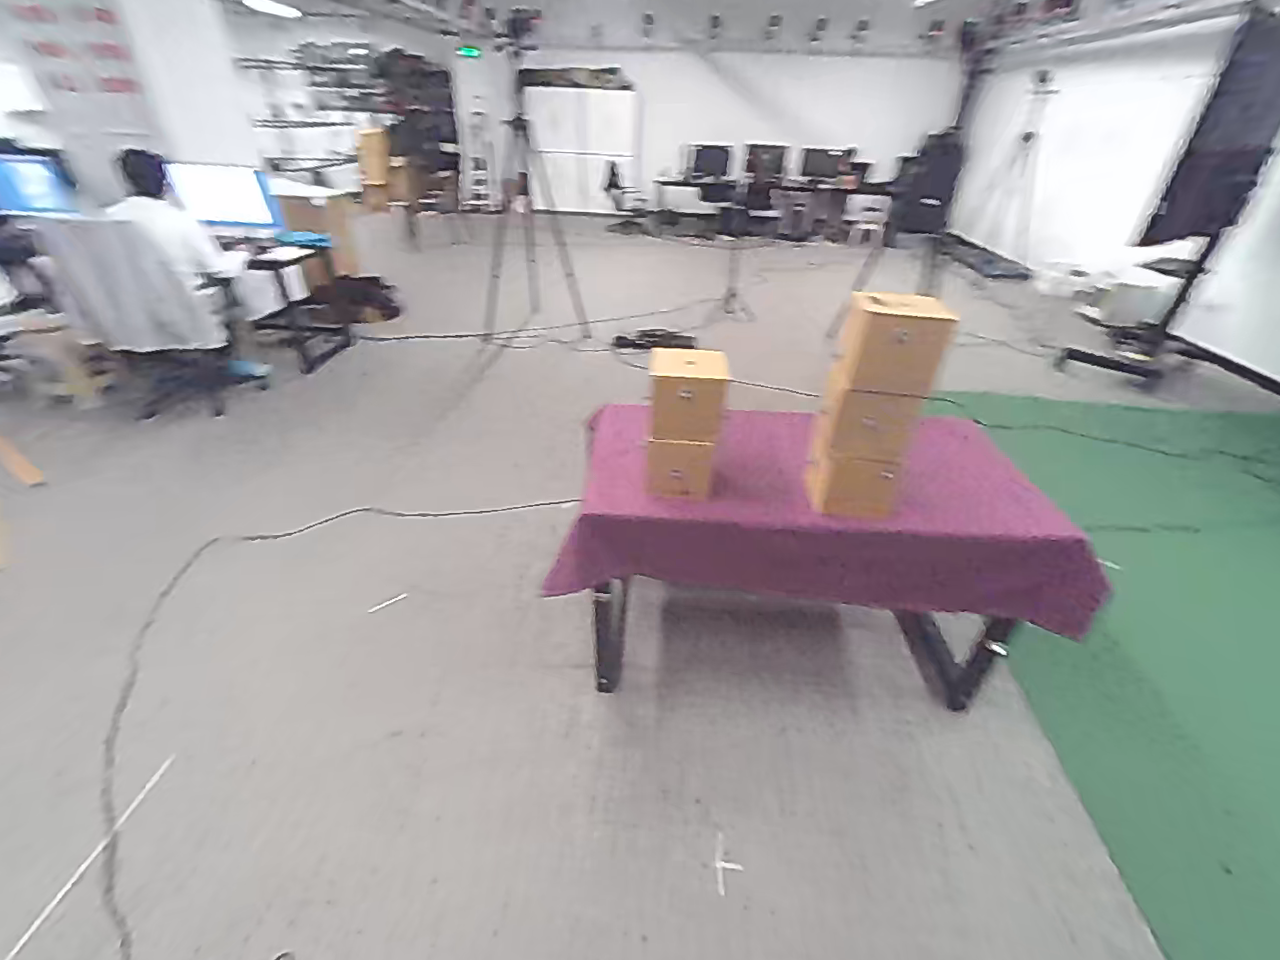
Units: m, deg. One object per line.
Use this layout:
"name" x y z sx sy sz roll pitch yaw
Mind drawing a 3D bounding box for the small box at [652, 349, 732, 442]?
"small box" 0.121 -0.202 1.292 0.179 0.176 0.168 4 35 3

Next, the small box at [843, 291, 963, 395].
"small box" 0.545 -0.294 1.154 0.179 0.176 0.168 7 34 5

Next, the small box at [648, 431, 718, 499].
"small box" 0.111 -0.067 1.383 0.168 0.176 0.179 5 34 4

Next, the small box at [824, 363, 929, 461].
"small box" 0.531 -0.158 1.248 0.179 0.176 0.168 6 34 6

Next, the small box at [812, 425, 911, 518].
"small box" 0.534 -0.021 1.339 0.179 0.176 0.168 4 34 3
